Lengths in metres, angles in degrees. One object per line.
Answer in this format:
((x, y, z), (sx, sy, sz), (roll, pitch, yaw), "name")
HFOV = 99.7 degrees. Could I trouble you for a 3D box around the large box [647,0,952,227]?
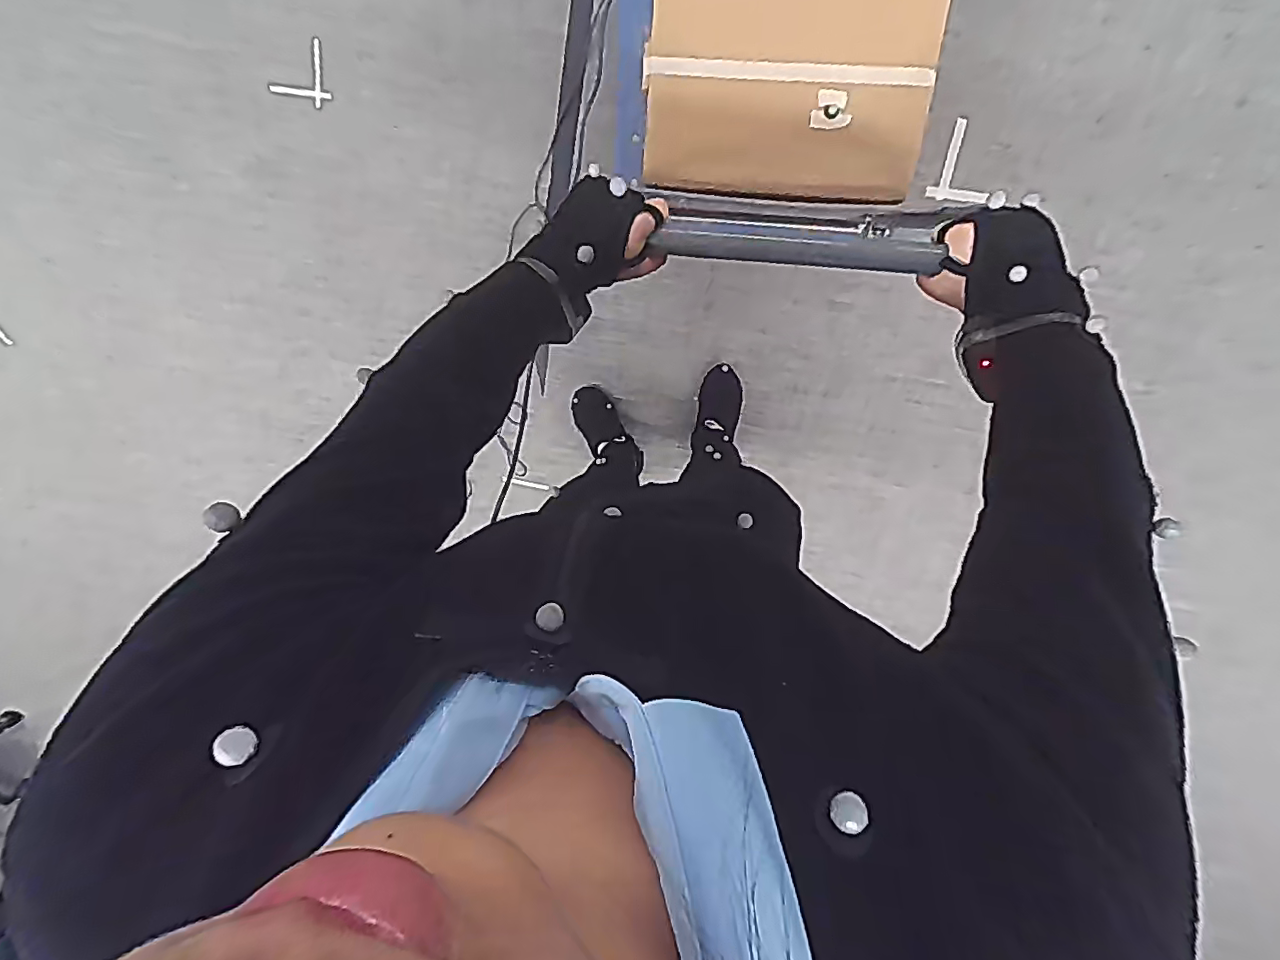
((0.225, -0.614, 0.907), (0.408, 0.320, 0.320), (5, 112, 3), "large box")
